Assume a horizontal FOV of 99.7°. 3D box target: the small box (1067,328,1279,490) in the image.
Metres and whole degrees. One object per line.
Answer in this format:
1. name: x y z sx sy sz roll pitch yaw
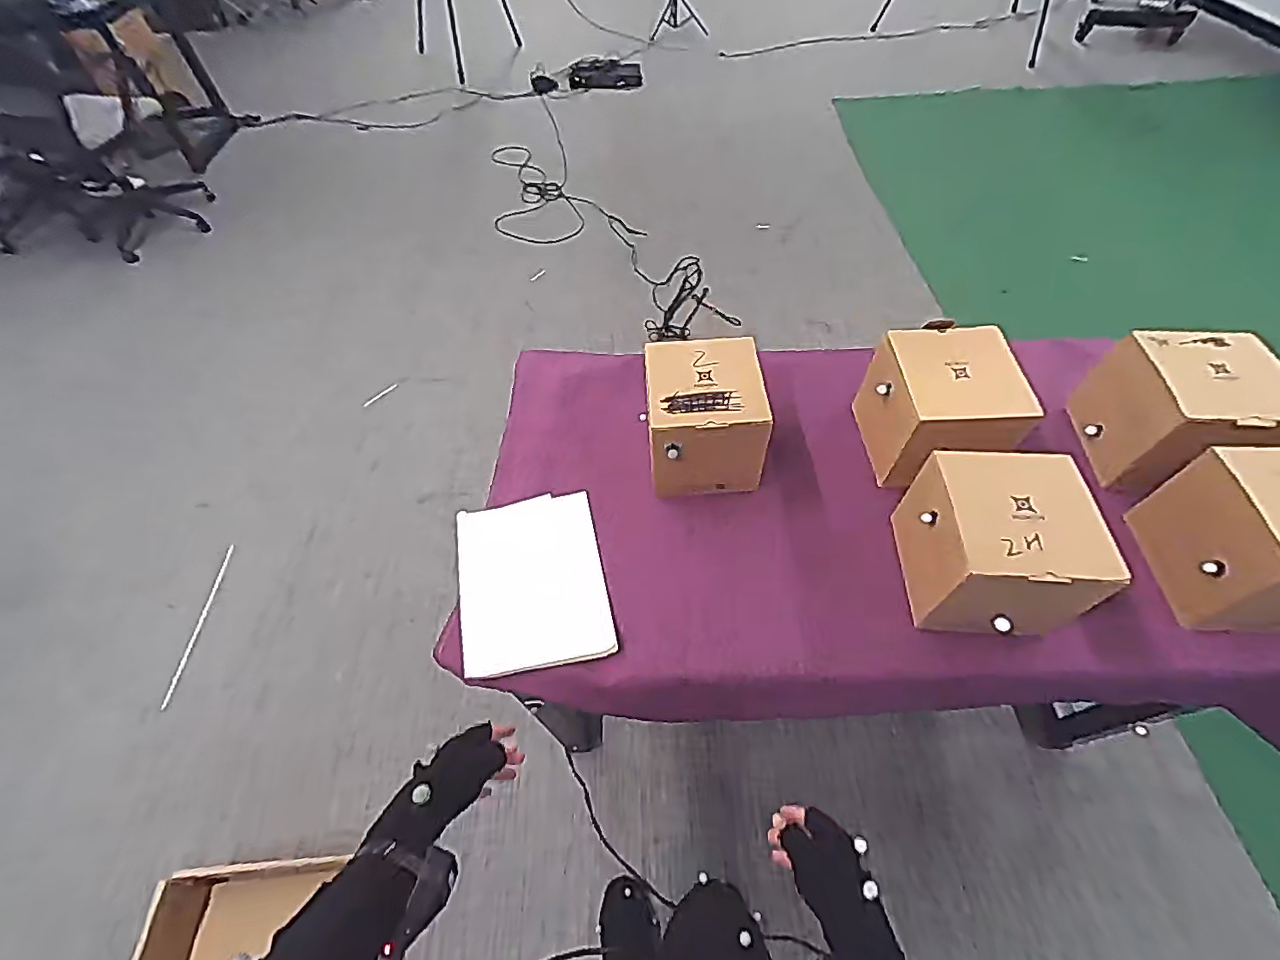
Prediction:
1. small box: 0.788 -0.101 0.799 0.168 0.176 0.179 4 56 5

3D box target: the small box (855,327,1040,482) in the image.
1. small box: 0.449 -0.107 0.825 0.168 0.176 0.179 -3 54 1

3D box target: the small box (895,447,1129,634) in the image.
1. small box: 0.447 0.079 0.692 0.168 0.176 0.179 2 55 5
